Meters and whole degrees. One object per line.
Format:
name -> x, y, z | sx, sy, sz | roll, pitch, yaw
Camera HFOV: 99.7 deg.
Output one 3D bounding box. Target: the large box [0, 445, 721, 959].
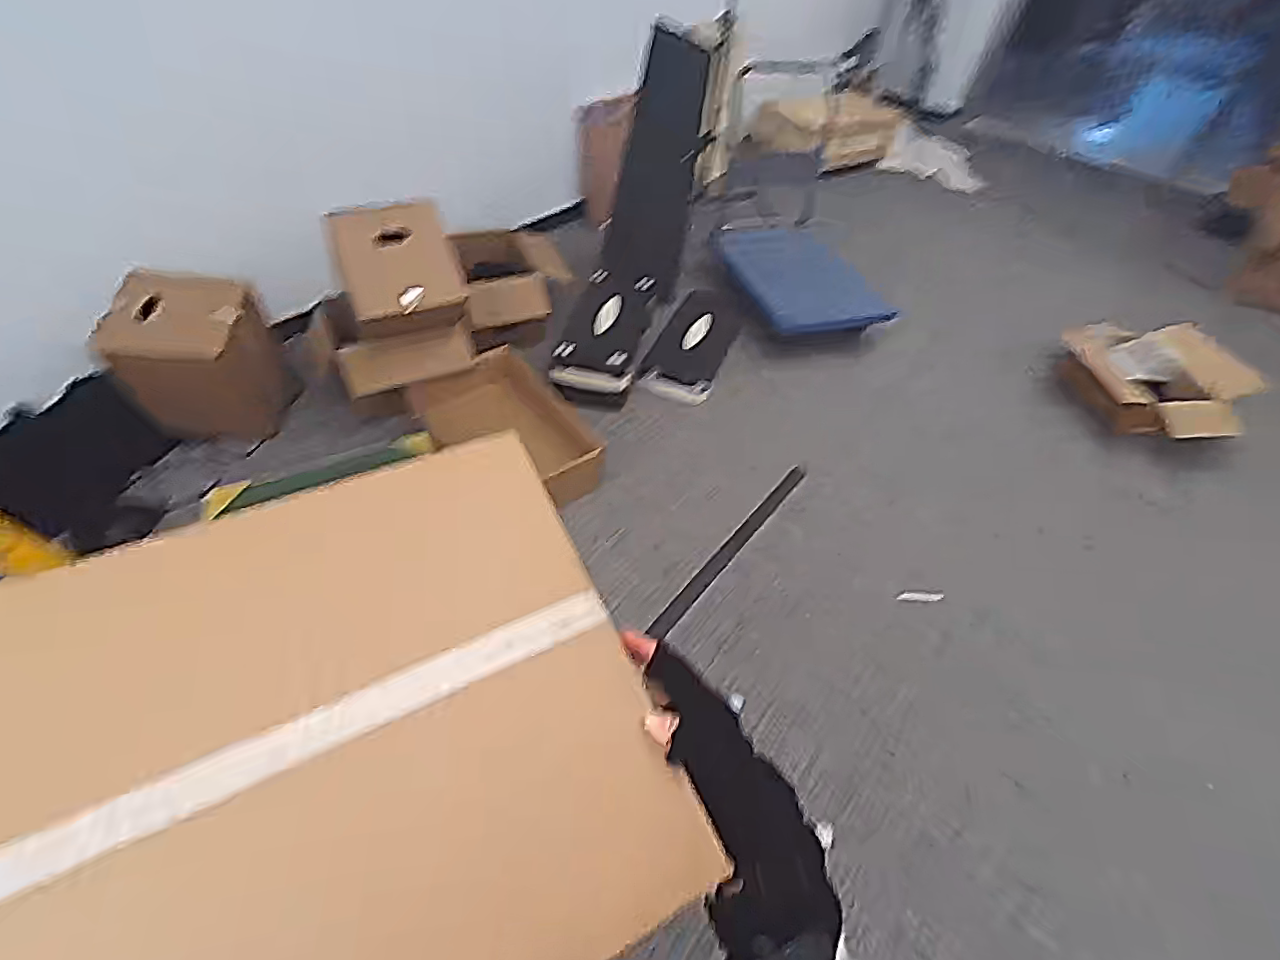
large box -> -0.215, 0.234, 0.415 | 0.408, 0.320, 0.320 | -20, 63, -21
